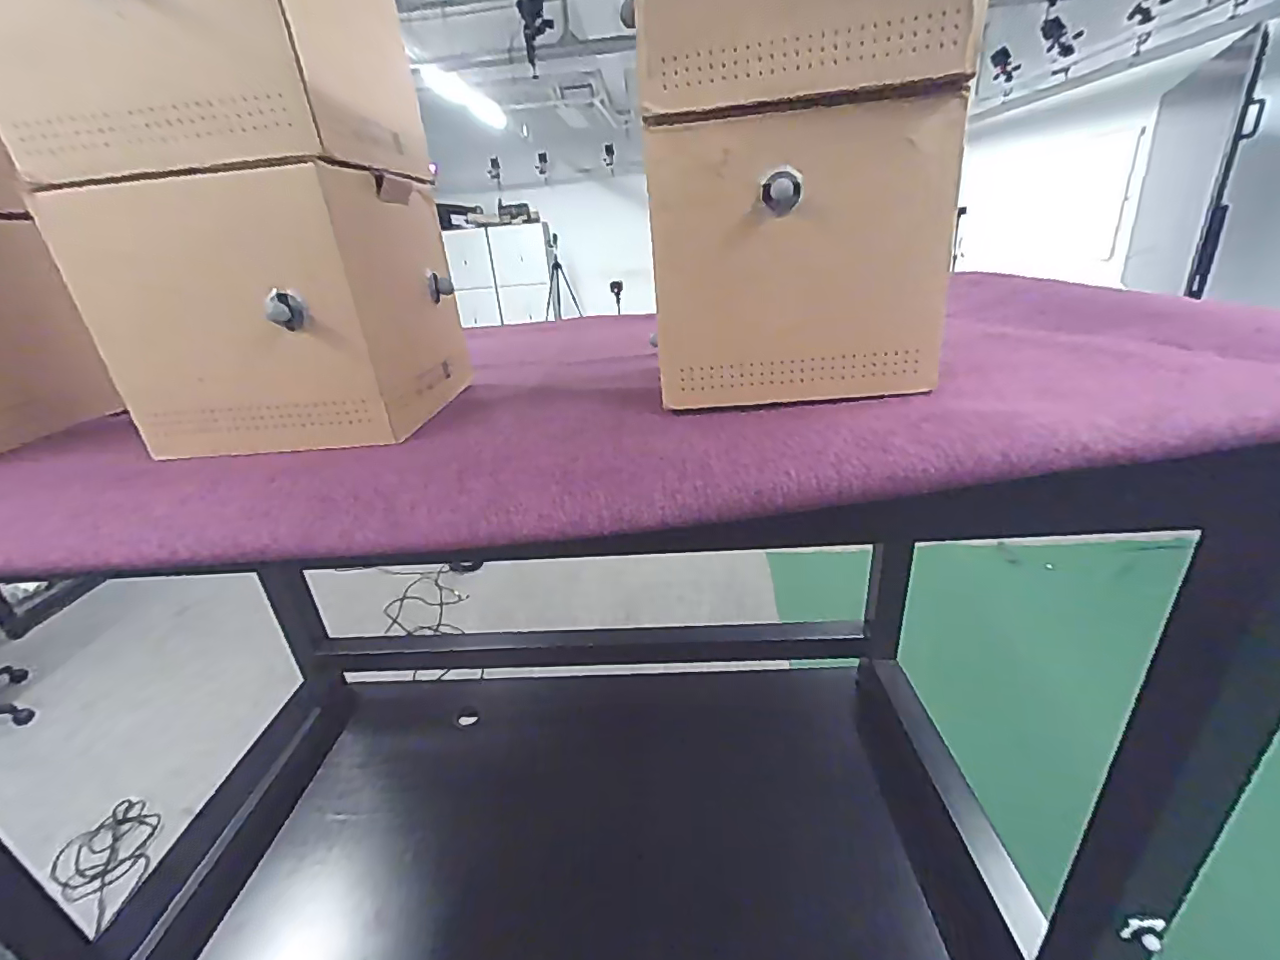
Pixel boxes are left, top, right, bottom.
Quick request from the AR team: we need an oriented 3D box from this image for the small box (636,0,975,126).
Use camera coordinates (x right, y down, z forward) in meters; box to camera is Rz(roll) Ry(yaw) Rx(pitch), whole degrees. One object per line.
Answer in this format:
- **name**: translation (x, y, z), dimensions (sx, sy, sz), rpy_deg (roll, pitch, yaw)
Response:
- **small box**: translation (0.089, -0.304, 0.329), dimensions (0.179, 0.176, 0.168), rpy_deg (-2, 23, 9)

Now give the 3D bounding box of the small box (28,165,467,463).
- **small box**: translation (-0.247, -0.122, 0.401), dimensions (0.179, 0.176, 0.168), rpy_deg (-4, 24, 3)

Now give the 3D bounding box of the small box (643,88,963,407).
- **small box**: translation (0.101, -0.154, 0.396), dimensions (0.179, 0.176, 0.168), rpy_deg (-3, 22, 5)
